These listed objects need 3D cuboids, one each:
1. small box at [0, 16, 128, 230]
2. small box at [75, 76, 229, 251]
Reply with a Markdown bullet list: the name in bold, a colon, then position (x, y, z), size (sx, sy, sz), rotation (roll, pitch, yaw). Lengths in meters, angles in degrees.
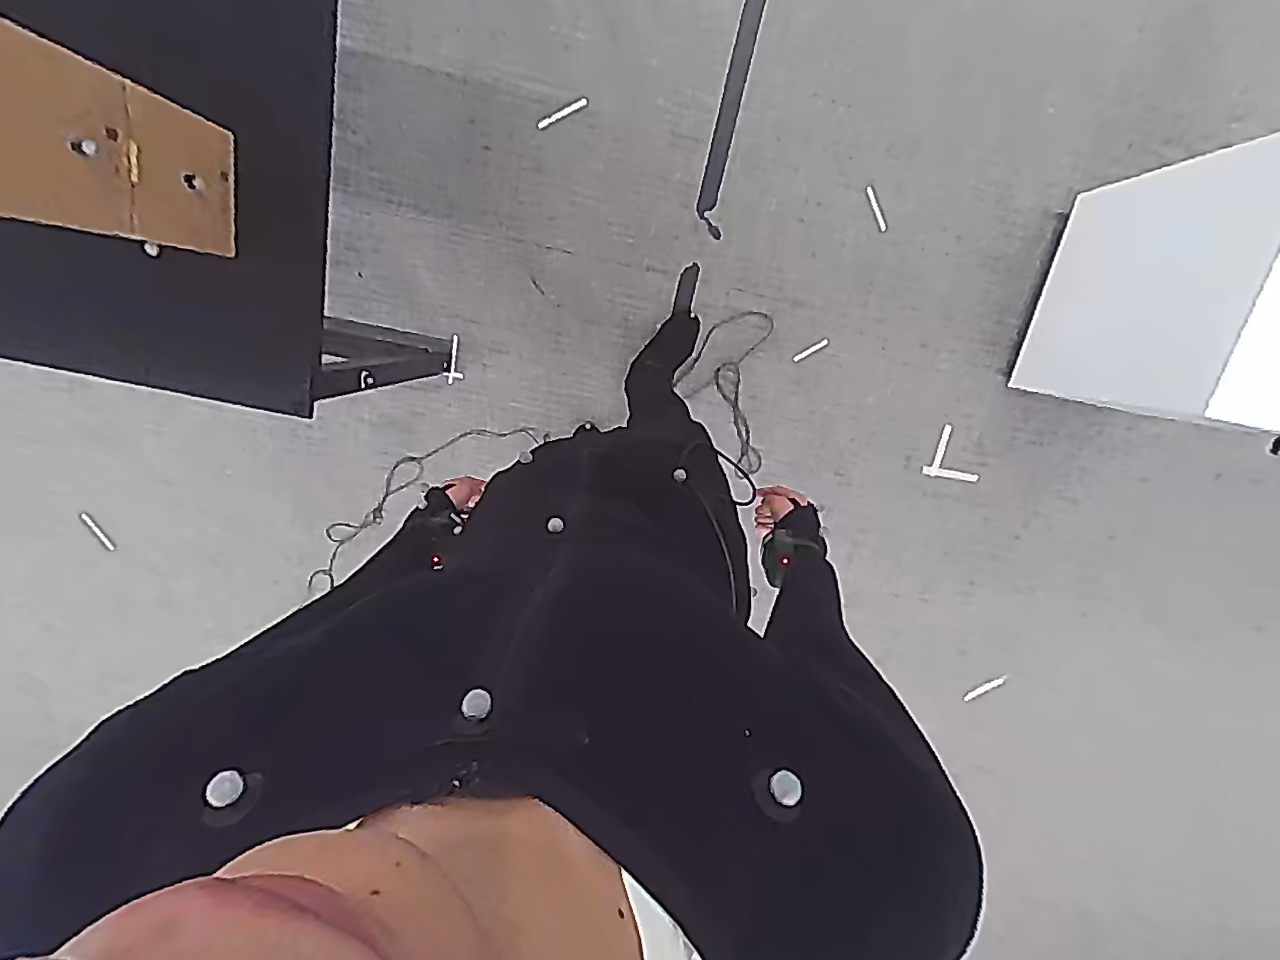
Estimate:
- **small box**: position (-0.657, -0.353, 0.519), size (0.179, 0.176, 0.168), rotation (10, 106, -3)
- **small box**: position (-0.656, -0.395, 0.678), size (0.179, 0.176, 0.168), rotation (10, 105, -3)
